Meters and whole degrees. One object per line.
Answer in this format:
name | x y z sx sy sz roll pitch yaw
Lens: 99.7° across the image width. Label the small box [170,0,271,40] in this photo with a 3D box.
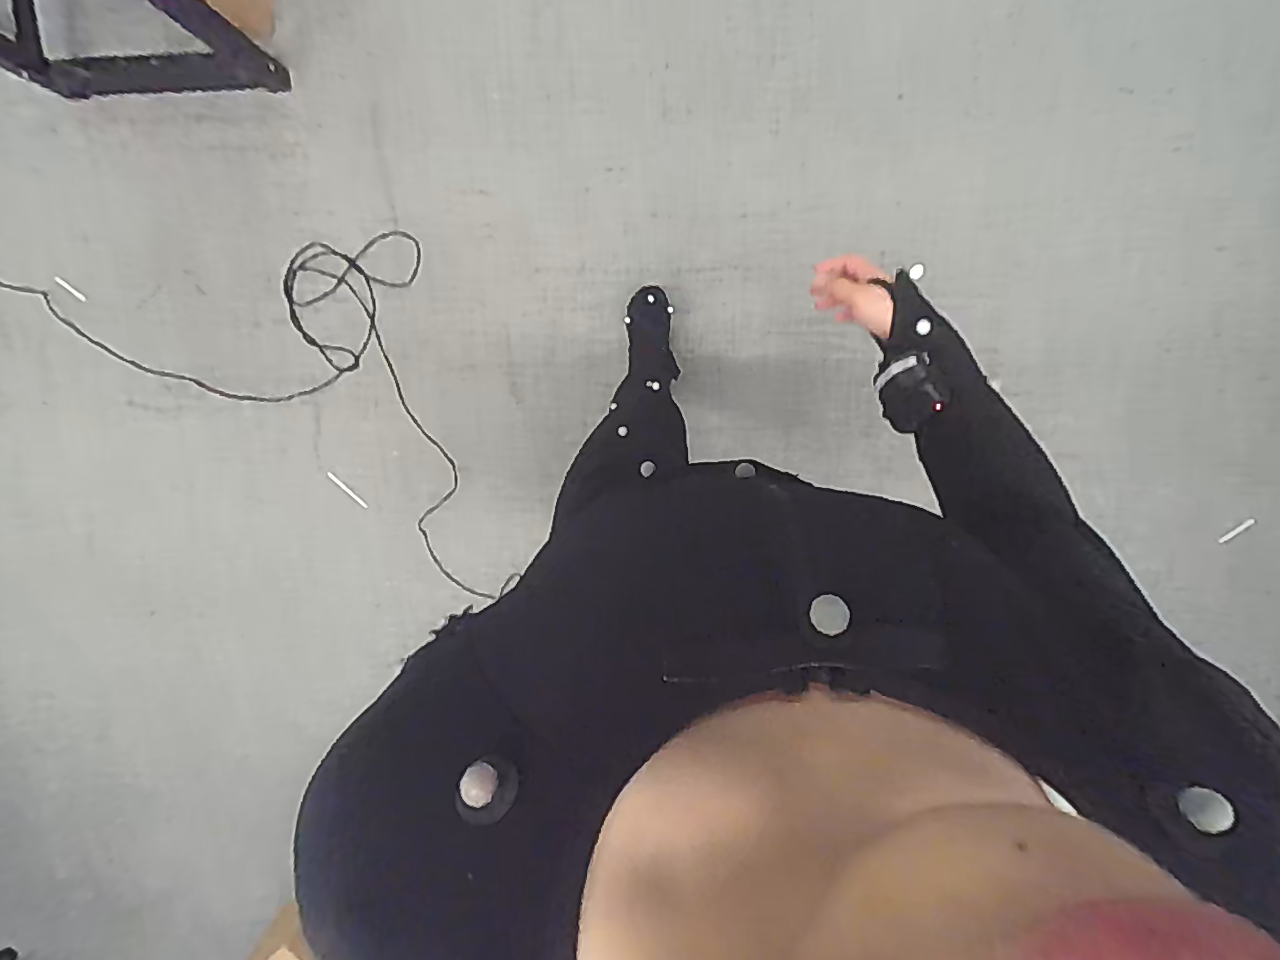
small box | -0.958 -1.138 1.210 0.168 0.176 0.179 12 101 -1
